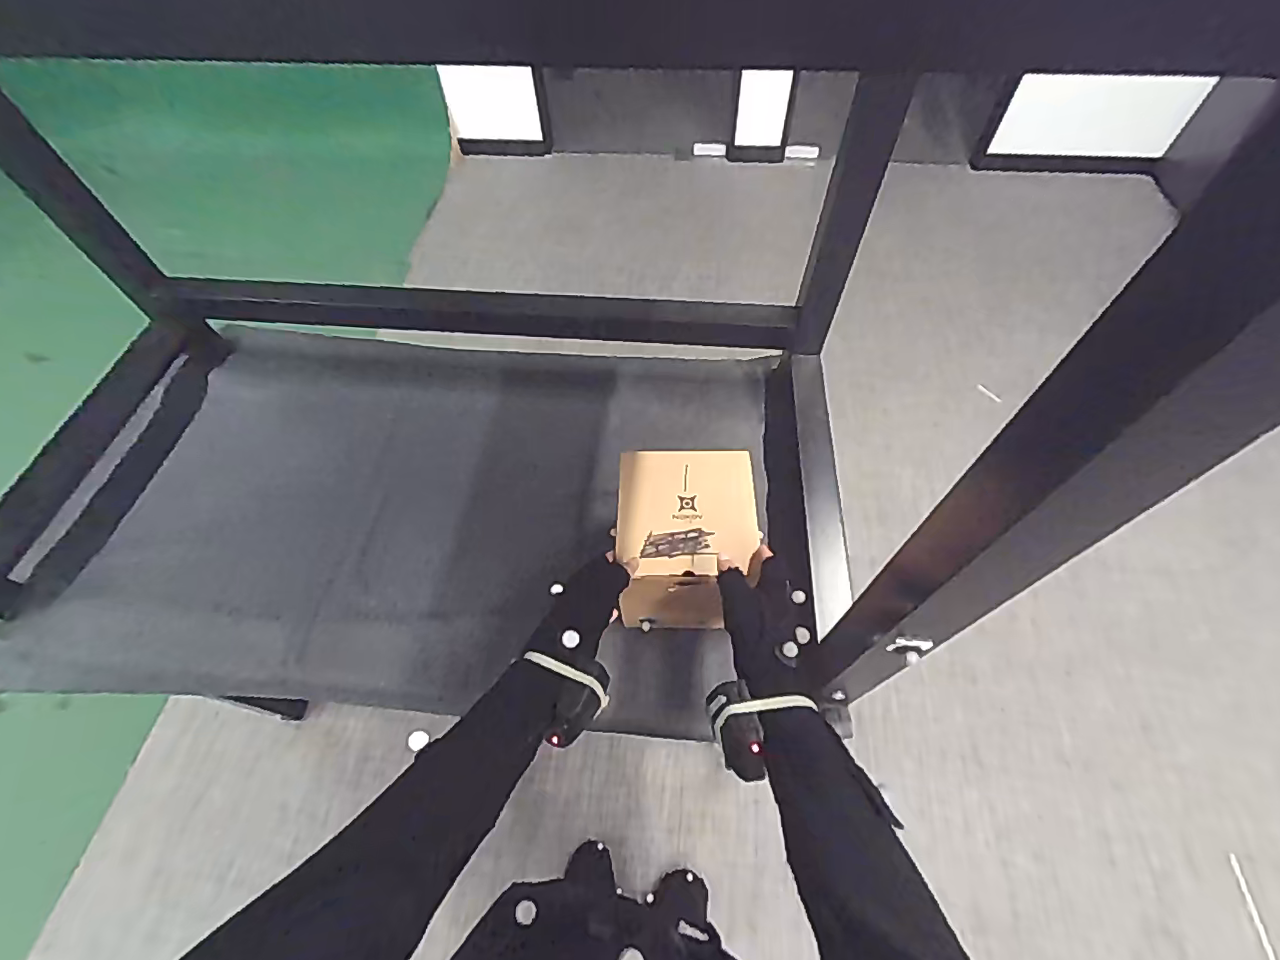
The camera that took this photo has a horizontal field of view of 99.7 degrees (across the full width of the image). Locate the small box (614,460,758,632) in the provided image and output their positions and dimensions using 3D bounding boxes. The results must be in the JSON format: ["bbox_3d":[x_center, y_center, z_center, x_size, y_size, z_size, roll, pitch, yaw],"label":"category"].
[{"bbox_3d":[0.060,0.092,0.718,0.168,0.176,0.179,0,54,3],"label":"small box"}]
